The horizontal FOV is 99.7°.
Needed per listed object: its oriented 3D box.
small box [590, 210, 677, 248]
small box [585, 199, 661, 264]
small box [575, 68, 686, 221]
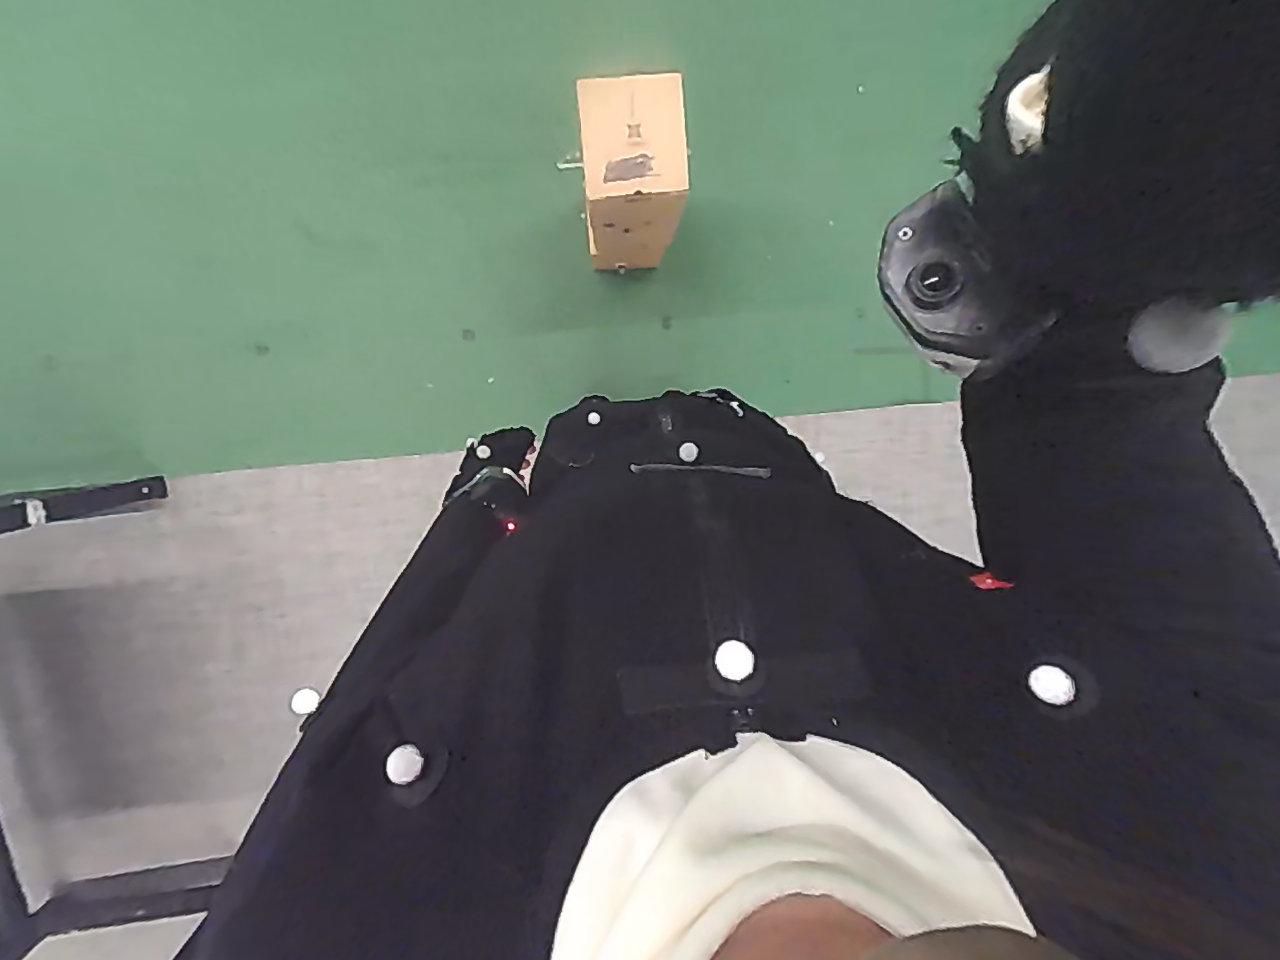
[{"bbox_3d":[-0.022,-0.583,1.083,0.168,0.176,0.179,-5,99,-2],"label":"small box"},{"bbox_3d":[-0.040,-0.601,1.226,0.168,0.176,0.179,-2,100,-1],"label":"small box"},{"bbox_3d":[-0.016,-0.555,0.921,0.168,0.176,0.179,-5,99,-2],"label":"small box"}]
